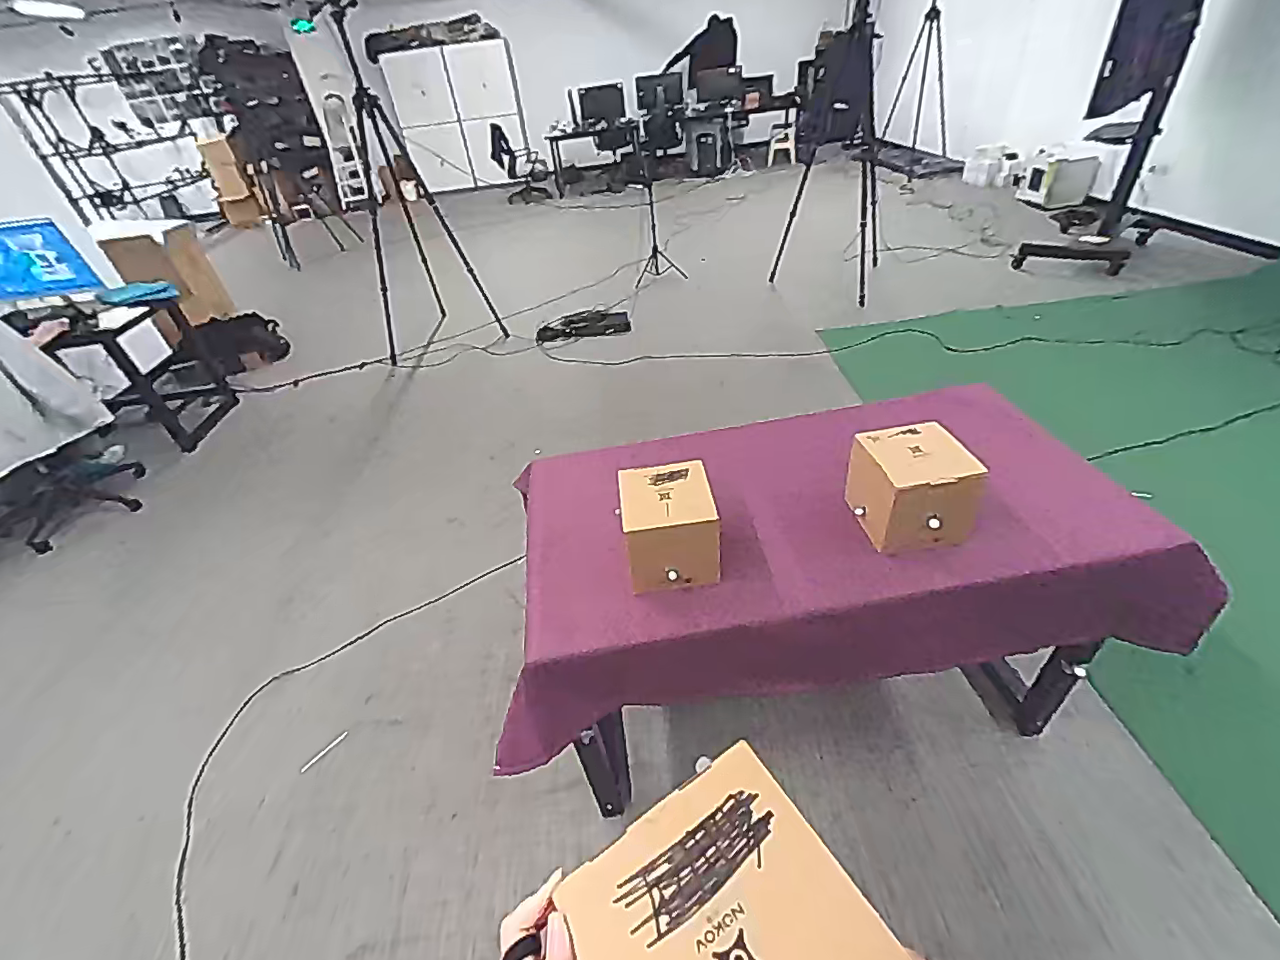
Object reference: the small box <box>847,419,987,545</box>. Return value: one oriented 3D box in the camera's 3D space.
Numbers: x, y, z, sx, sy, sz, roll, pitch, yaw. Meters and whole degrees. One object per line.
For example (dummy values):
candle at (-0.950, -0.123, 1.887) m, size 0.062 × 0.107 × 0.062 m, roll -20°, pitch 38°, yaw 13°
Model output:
small box at (0.517, 0.009, 1.038) m, size 0.168 × 0.176 × 0.179 m, roll -9°, pitch 39°, yaw -1°

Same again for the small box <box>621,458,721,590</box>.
small box at (0.056, 0.083, 1.028) m, size 0.168 × 0.176 × 0.179 m, roll -8°, pitch 39°, yaw 0°
